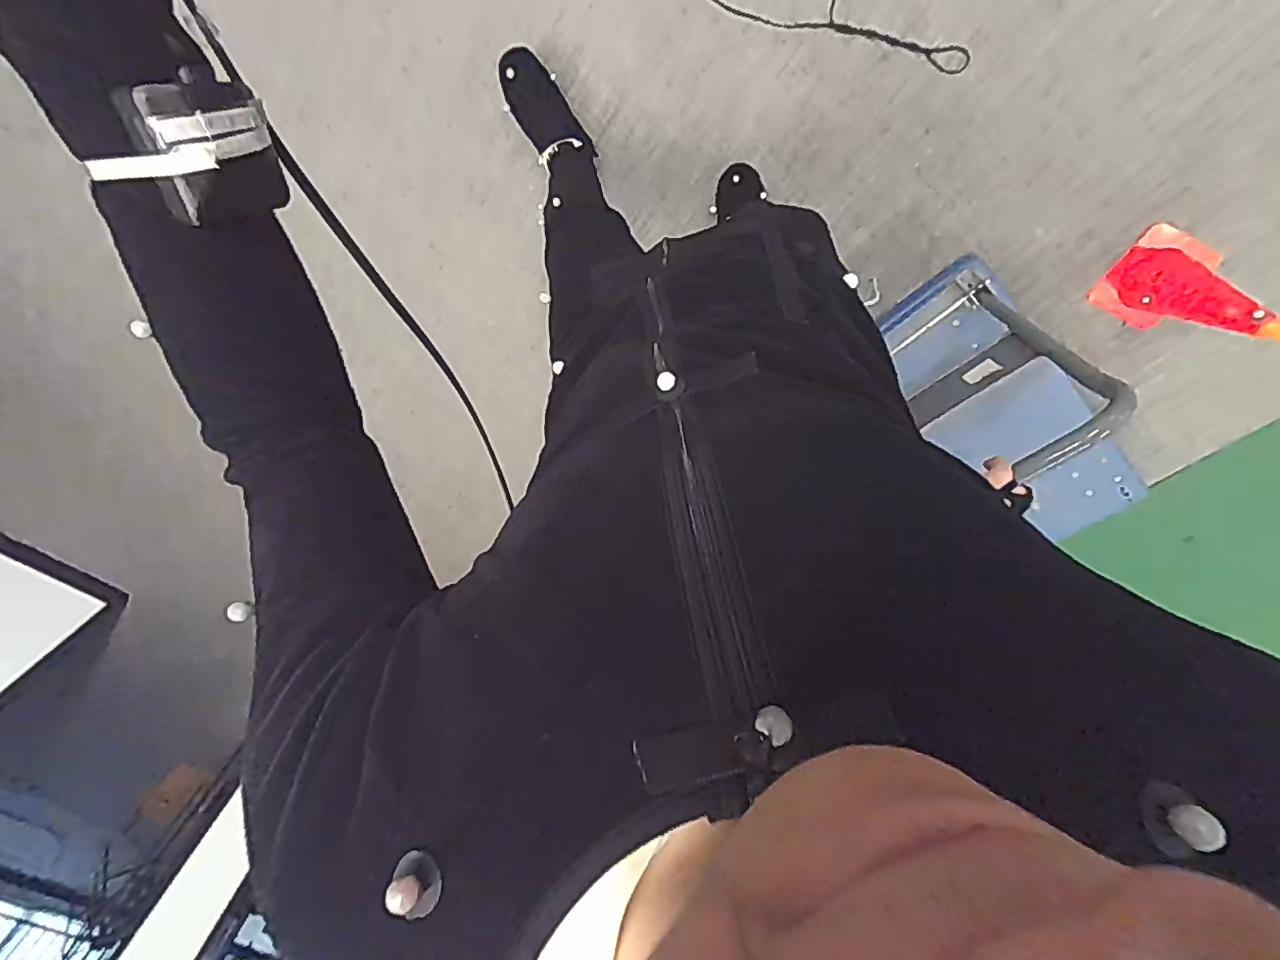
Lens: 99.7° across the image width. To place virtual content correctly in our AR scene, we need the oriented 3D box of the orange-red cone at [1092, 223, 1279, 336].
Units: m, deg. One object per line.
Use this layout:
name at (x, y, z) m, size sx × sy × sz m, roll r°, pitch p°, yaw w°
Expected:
orange-red cone at (1.212, -0.389, 1.155) m, size 0.198 × 0.360 × 0.199 m, roll 24°, pitch 124°, yaw -9°
